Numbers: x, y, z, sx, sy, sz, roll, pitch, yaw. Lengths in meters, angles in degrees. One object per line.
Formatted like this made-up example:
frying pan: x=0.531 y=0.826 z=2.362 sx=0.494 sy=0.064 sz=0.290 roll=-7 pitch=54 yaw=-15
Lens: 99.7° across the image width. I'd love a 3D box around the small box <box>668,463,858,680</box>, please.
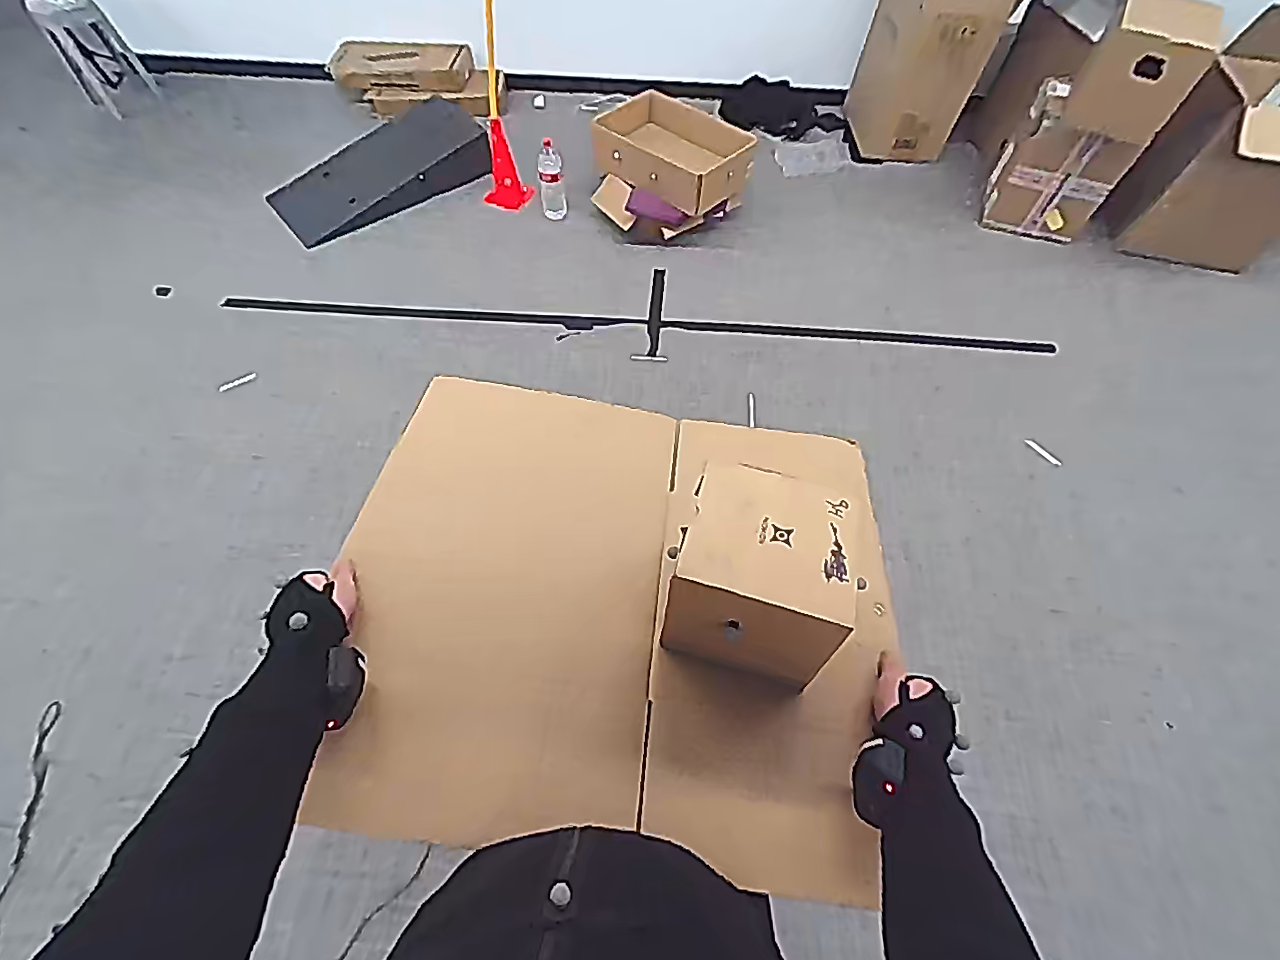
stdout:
small box: x=0.135 y=0.110 z=0.627 sx=0.179 sy=0.176 sz=0.168 roll=14 pitch=52 yaw=9
